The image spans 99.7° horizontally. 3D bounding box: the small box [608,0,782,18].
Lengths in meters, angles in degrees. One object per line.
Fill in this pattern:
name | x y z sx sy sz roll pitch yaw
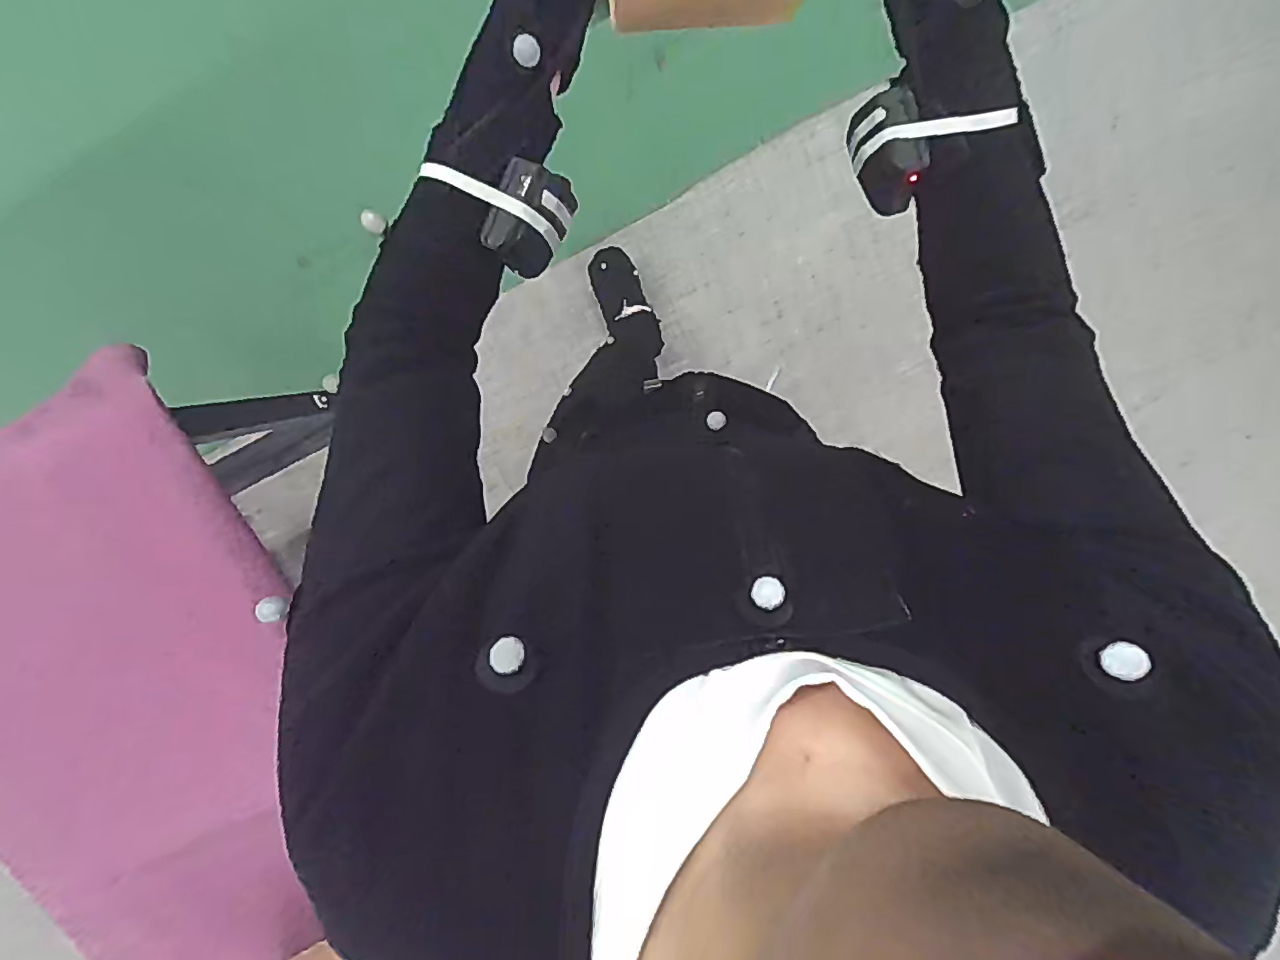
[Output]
small box | 0.052 -0.491 0.407 0.179 0.176 0.168 -5 105 -1
